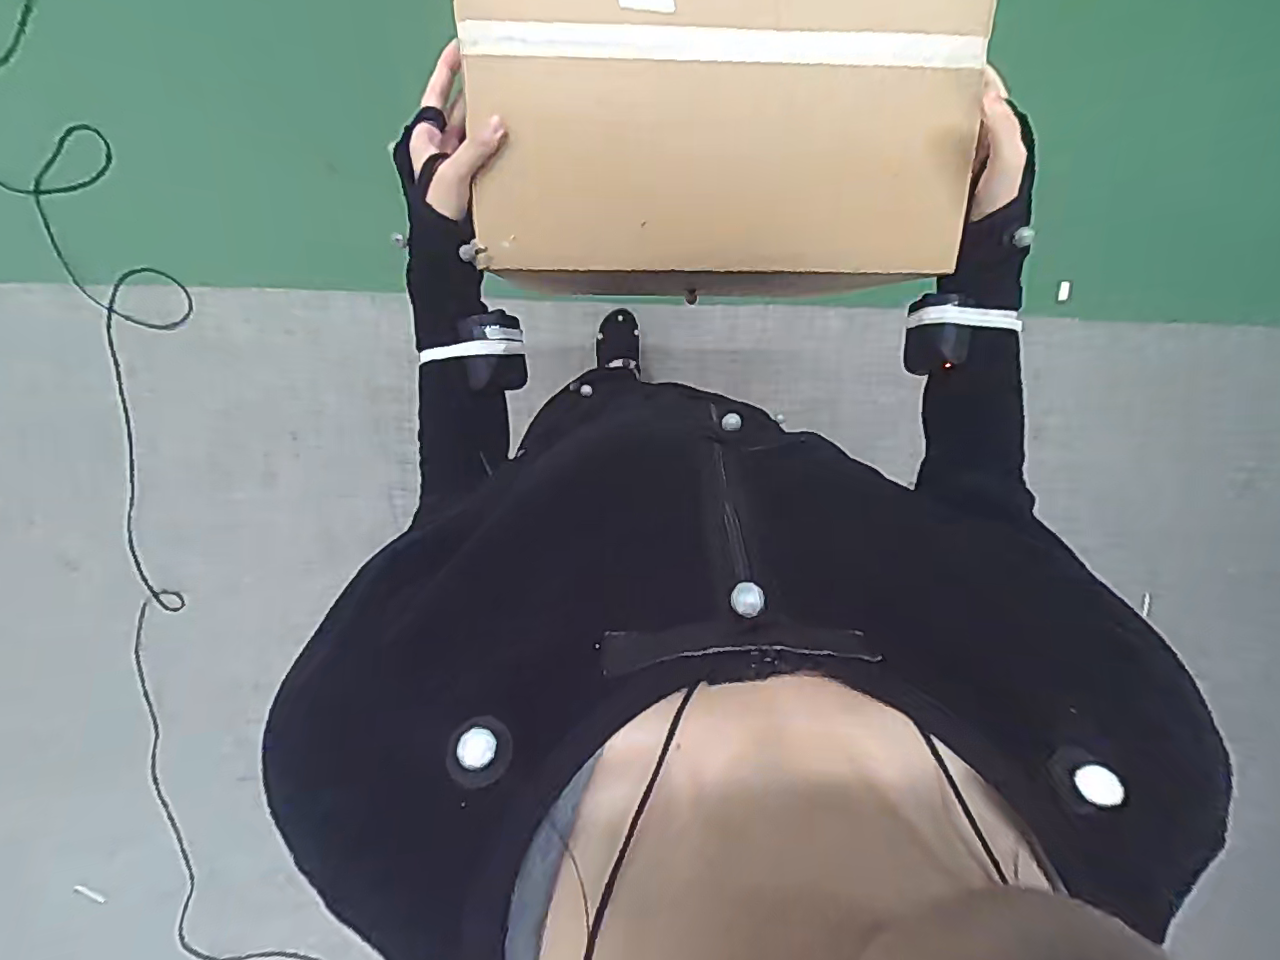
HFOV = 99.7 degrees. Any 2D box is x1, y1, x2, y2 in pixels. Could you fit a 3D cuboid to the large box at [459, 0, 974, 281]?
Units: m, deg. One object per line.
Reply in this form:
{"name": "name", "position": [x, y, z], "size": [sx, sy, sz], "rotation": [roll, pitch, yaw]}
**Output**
{"name": "large box", "position": [0.056, -0.378, 0.565], "size": [0.408, 0.320, 0.320], "rotation": [0, 106, -3]}
